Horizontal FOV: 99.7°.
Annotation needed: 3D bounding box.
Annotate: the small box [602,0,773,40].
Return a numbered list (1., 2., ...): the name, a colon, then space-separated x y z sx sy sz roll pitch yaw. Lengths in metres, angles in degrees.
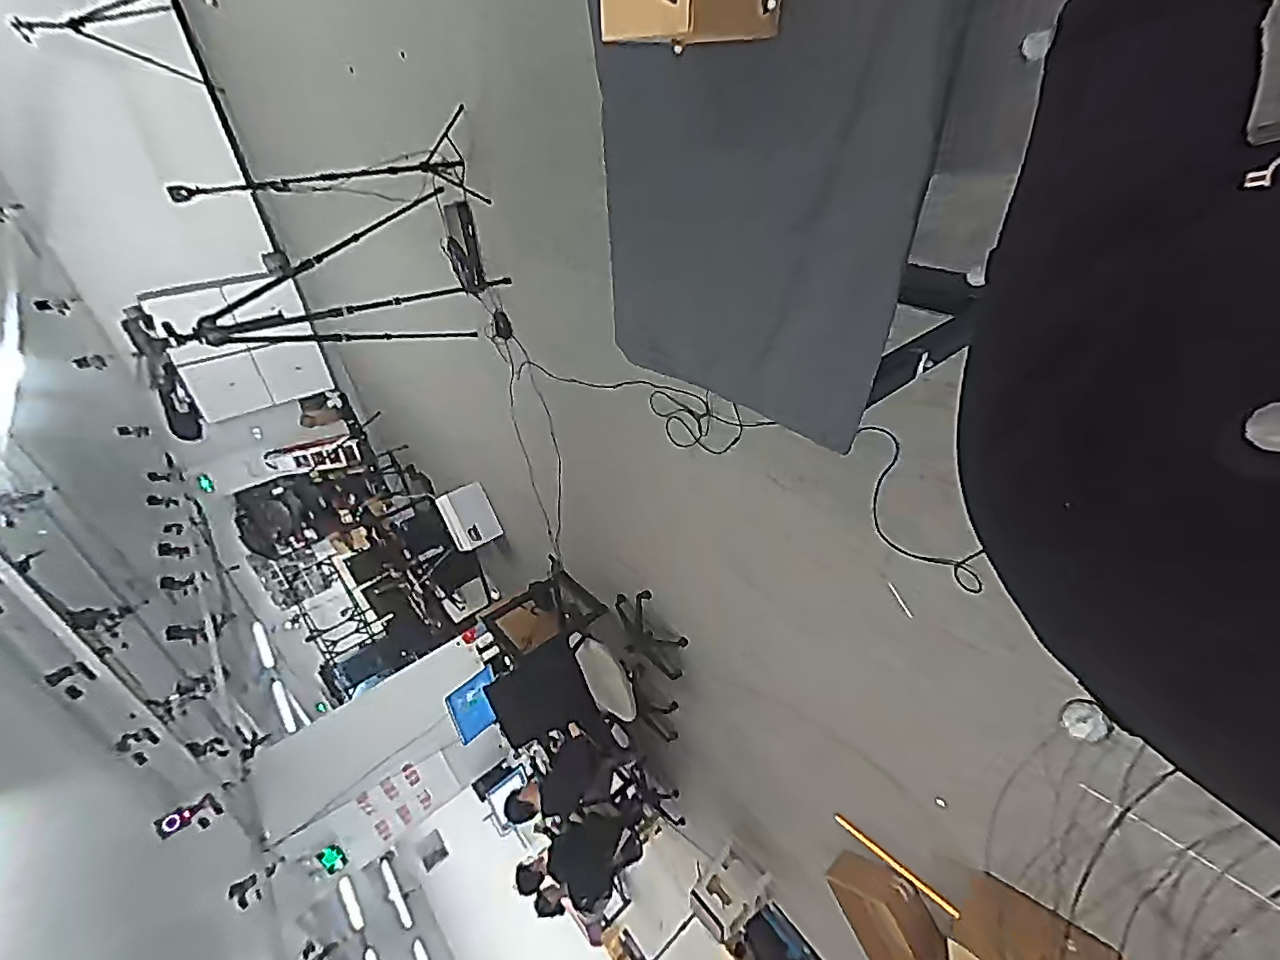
1. small box: 0.065 -0.670 0.687 0.179 0.176 0.168 35 140 38
